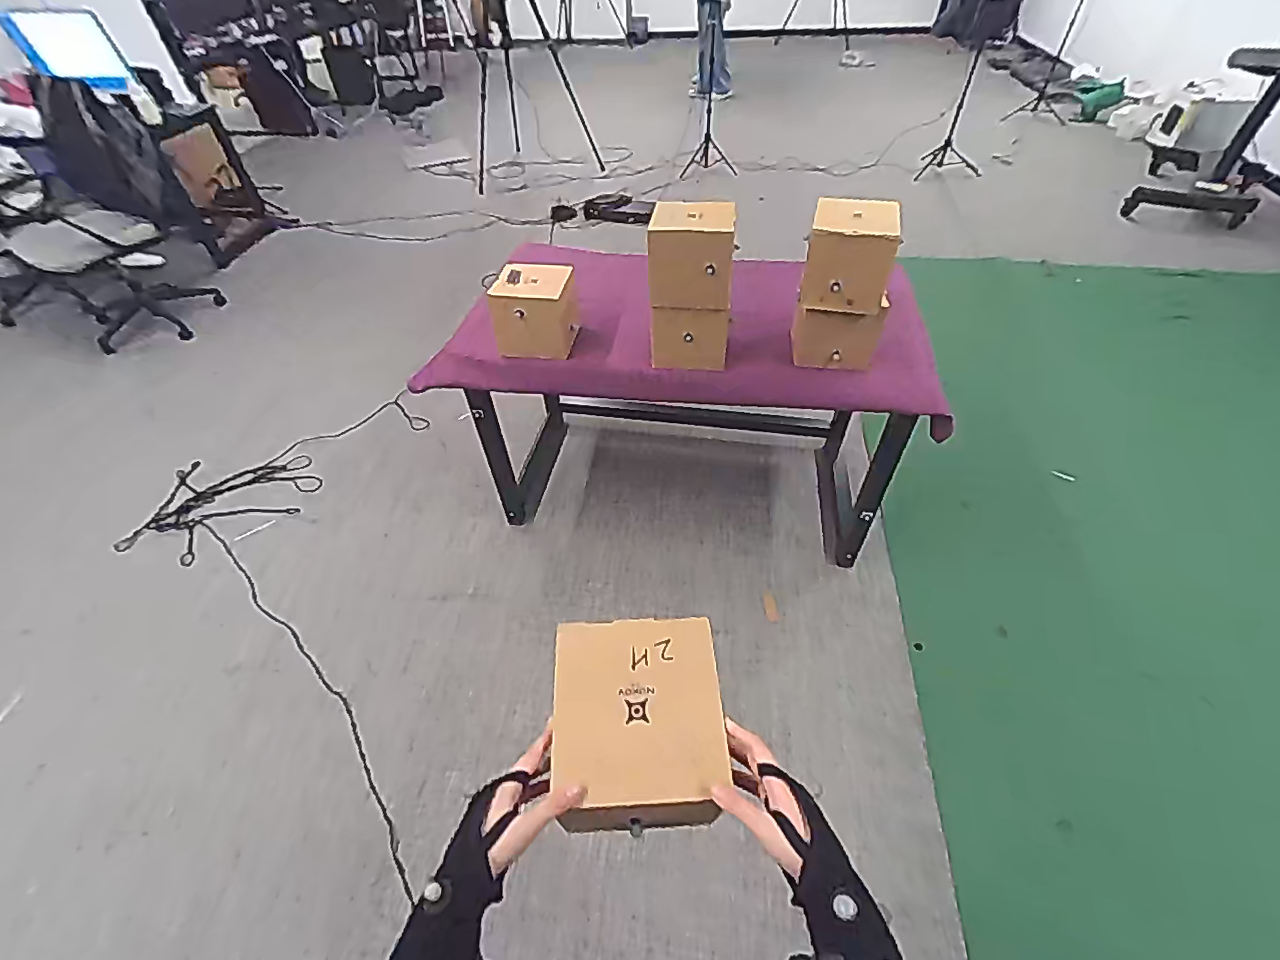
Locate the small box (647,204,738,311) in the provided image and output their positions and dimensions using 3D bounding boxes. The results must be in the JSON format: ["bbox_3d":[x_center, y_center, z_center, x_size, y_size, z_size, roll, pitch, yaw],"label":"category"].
[{"bbox_3d":[0.116,-0.483,1.179,0.179,0.176,0.168,5,45,9],"label":"small box"}]

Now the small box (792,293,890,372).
[{"bbox_3d":[0.466,-0.371,1.280,0.179,0.176,0.168,5,46,8],"label":"small box"}]

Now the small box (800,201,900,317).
[{"bbox_3d":[0.442,-0.472,1.152,0.168,0.176,0.179,10,48,14],"label":"small box"}]

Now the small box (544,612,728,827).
[{"bbox_3d":[-0.005,0.263,0.585,0.168,0.176,0.179,-2,49,-2],"label":"small box"}]

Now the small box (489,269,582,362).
[{"bbox_3d":[-0.254,-0.411,1.356,0.179,0.176,0.168,5,46,6],"label":"small box"}]
